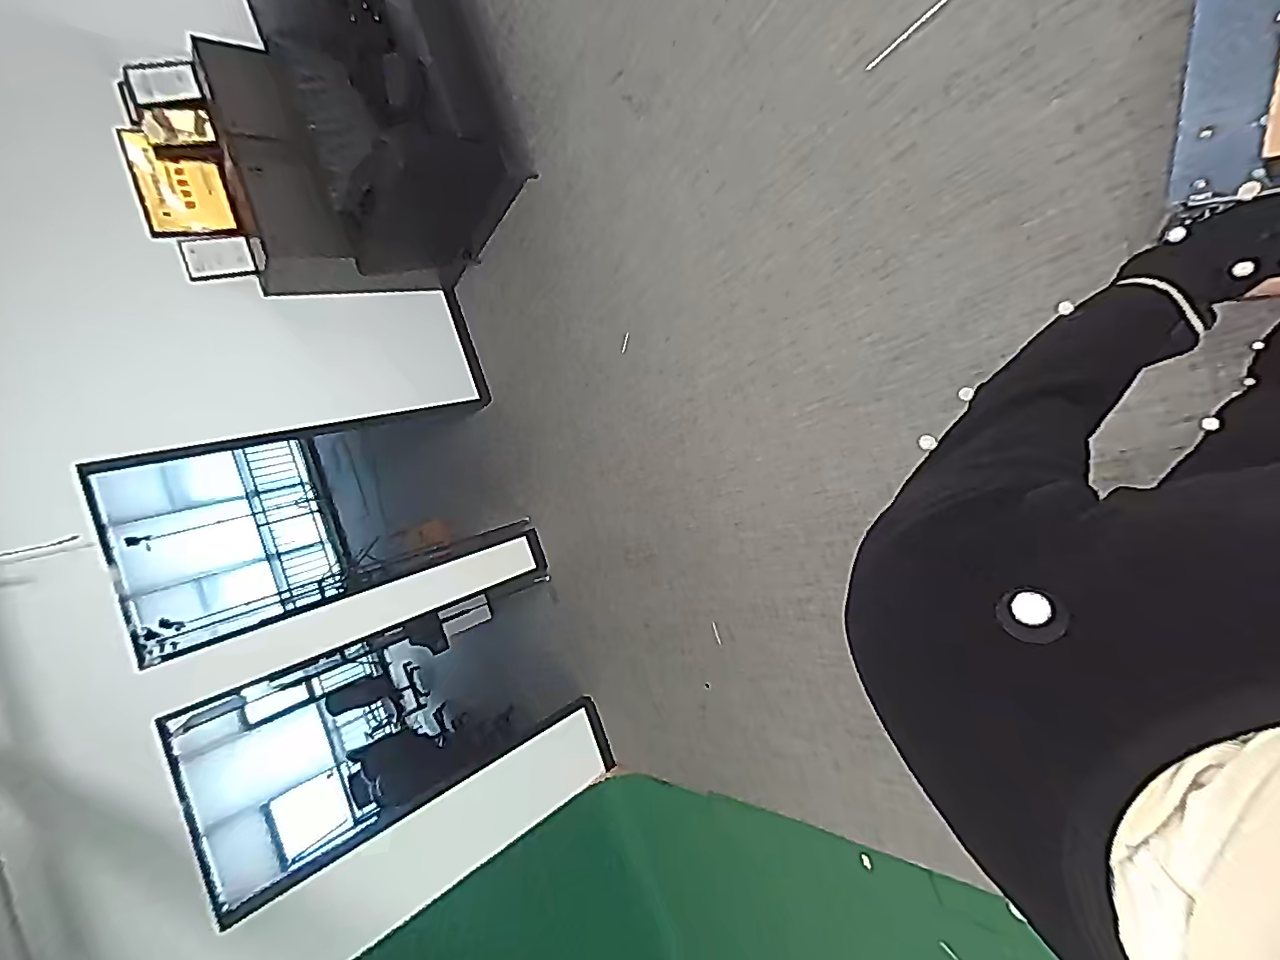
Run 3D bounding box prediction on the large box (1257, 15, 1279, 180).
[{"bbox_3d":[1.029,-0.637,0.660,0.320,0.320,0.408,12,114,47],"label":"large box"}]
